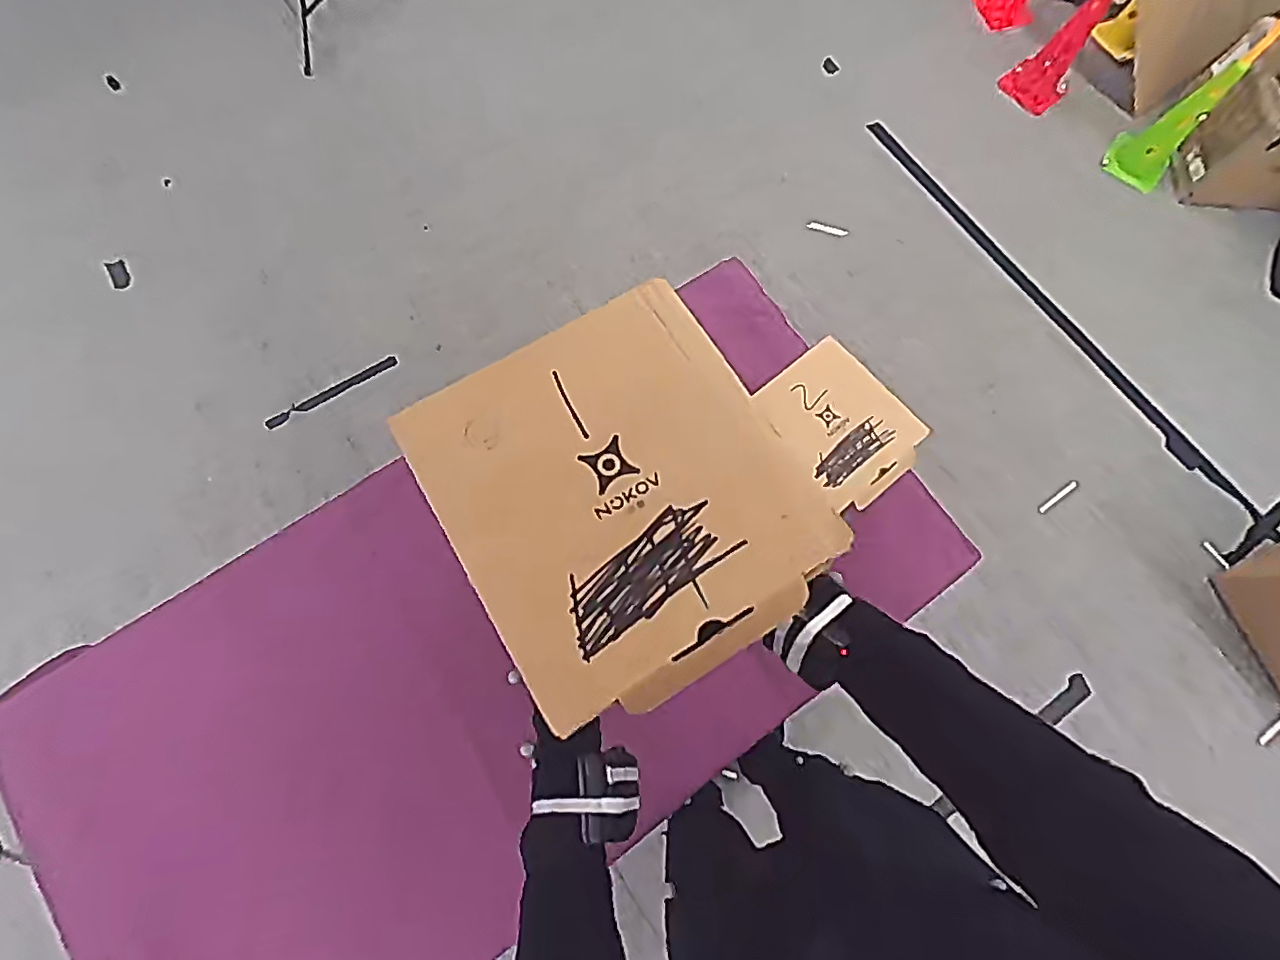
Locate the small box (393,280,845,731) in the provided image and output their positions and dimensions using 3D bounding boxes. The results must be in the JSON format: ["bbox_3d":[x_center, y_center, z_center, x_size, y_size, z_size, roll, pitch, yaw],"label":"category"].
[{"bbox_3d":[-0.013,0.020,0.343,0.168,0.176,0.179,-31,78,-9],"label":"small box"}]
